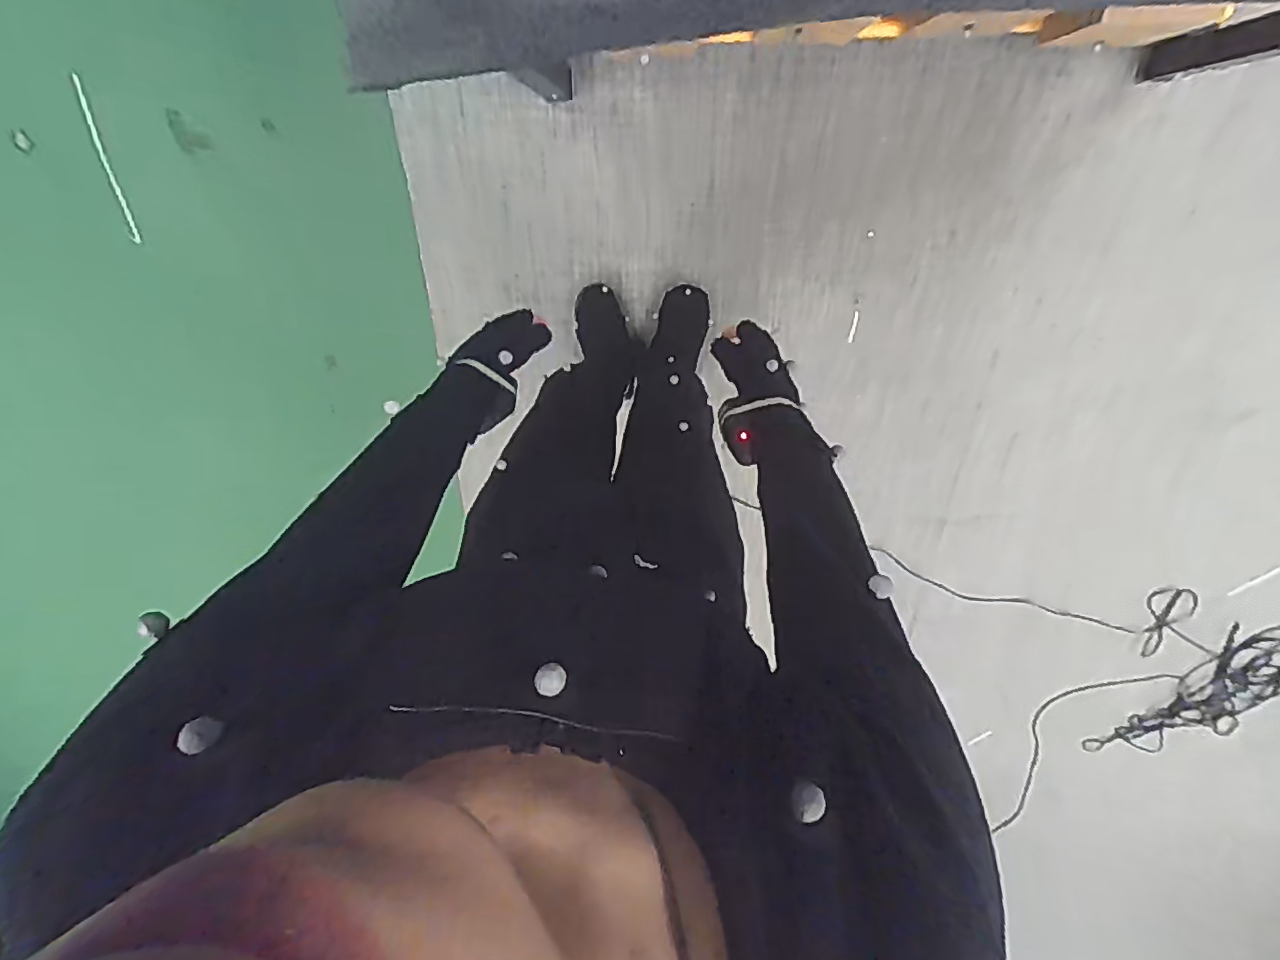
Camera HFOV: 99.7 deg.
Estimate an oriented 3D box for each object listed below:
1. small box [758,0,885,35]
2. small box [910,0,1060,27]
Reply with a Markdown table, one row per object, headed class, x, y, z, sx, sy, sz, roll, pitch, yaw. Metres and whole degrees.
| class | x | y | z | sx | sy | sz | roll | pitch | yaw |
| --- | --- | --- | --- | --- | --- | --- | --- | --- | --- |
| small box | 0.275 | -0.792 | 0.809 | 0.168 | 0.176 | 0.179 | 1 | 119 | 2 |
| small box | 0.520 | -0.791 | 0.793 | 0.168 | 0.176 | 0.179 | 1 | 119 | 4 |
